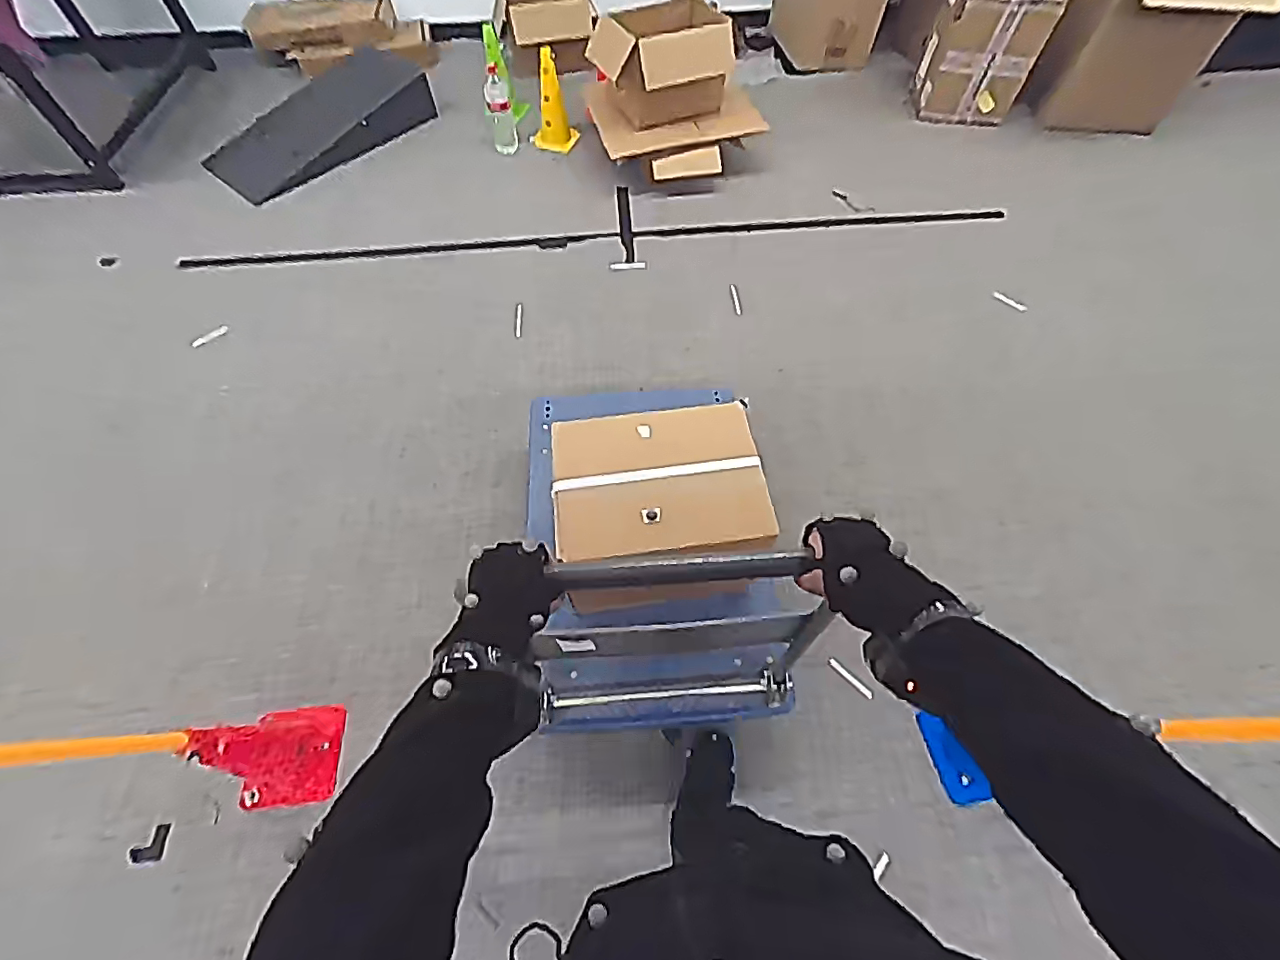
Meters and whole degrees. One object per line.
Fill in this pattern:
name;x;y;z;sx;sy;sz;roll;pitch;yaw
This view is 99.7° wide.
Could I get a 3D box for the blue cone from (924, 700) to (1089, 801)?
blue cone;0.766;0.527;1.093;0.193;0.380;0.192;-7;58;-5
